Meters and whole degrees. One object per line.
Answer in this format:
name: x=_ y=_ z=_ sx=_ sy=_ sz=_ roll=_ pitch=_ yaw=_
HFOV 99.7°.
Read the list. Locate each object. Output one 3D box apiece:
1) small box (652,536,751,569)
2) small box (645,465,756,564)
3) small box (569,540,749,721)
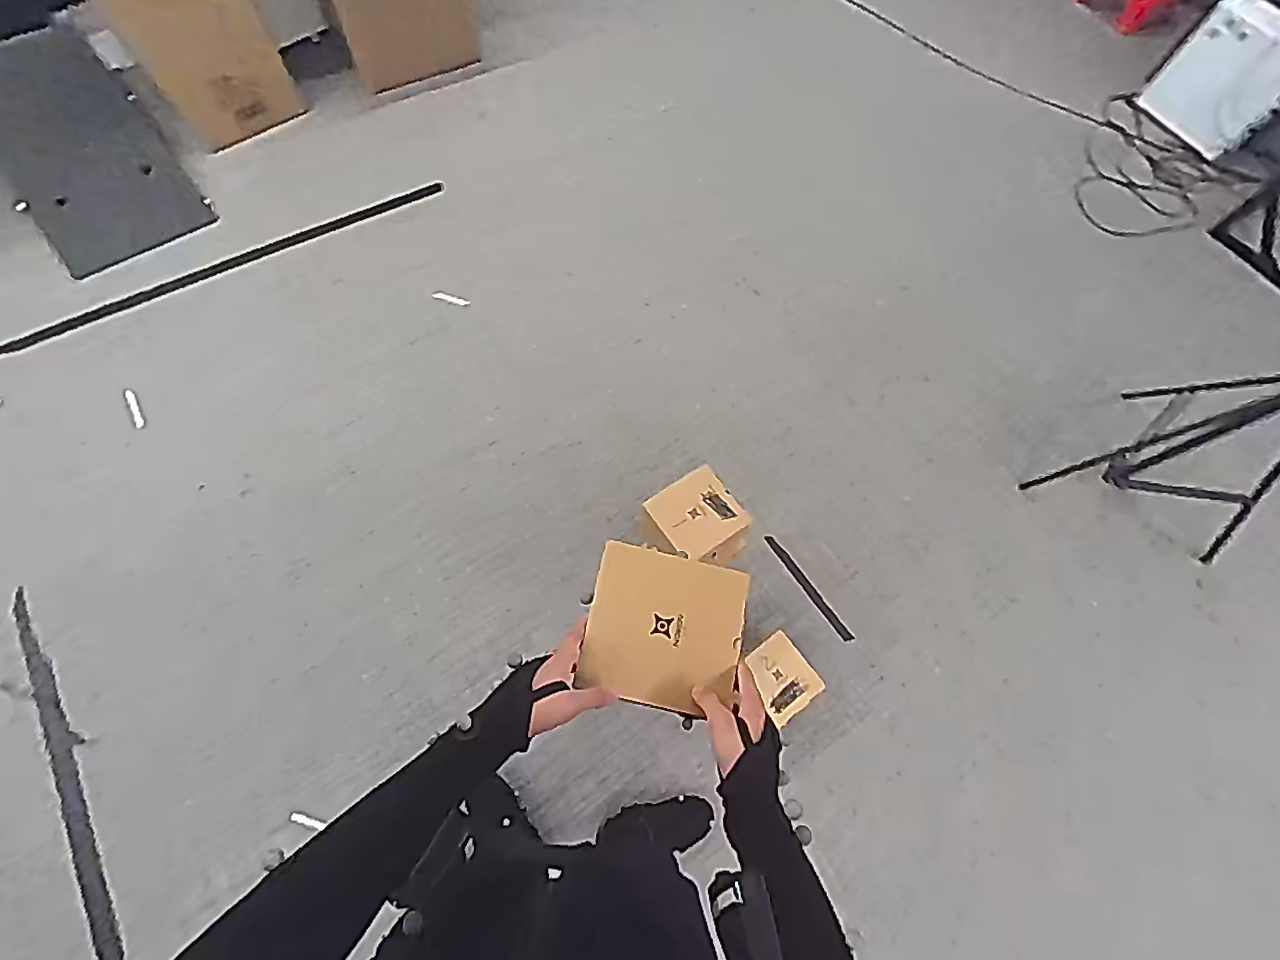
small box: x=0.145 y=0.165 z=1.361 sx=0.168 sy=0.176 sz=0.179 roll=-35 pitch=73 yaw=-16
small box: x=0.126 y=0.101 z=1.208 sx=0.179 sy=0.176 sz=0.168 roll=-31 pitch=71 yaw=-14
small box: x=0.016 y=0.190 z=0.666 sx=0.179 sy=0.176 sz=0.168 roll=14 pitch=68 yaw=-3
